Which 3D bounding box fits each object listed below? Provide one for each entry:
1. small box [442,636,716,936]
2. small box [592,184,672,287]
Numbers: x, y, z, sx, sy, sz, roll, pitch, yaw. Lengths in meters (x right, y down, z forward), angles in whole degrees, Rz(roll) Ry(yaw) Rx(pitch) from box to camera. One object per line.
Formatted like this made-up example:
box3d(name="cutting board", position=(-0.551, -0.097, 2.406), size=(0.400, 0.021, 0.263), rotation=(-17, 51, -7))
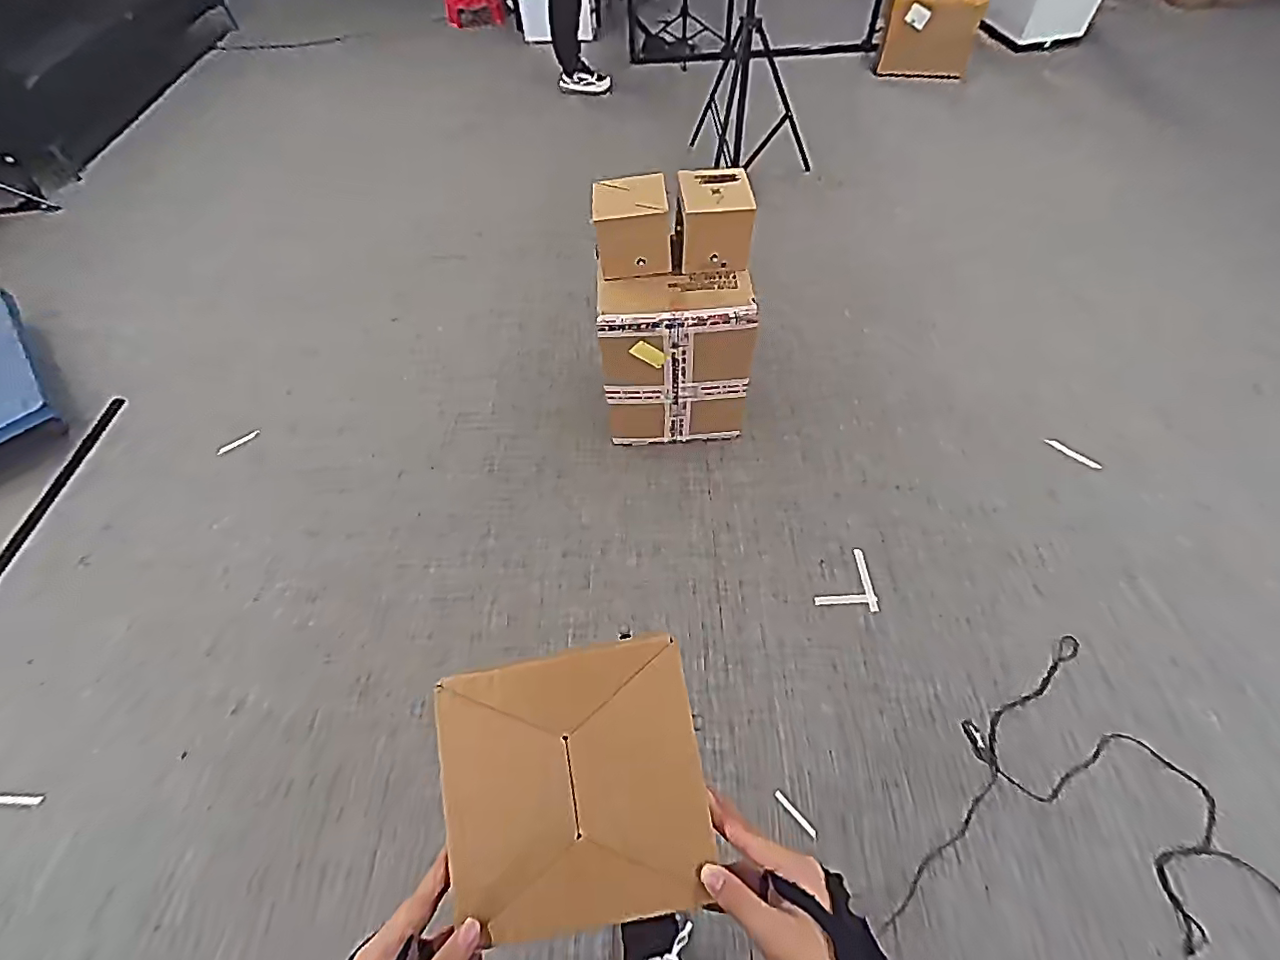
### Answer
box3d(name="small box", position=(-0.046, 0.228, 0.445), size=(0.179, 0.176, 0.168), rotation=(-10, 76, -1))
box3d(name="small box", position=(-0.017, -0.613, 1.353), size=(0.179, 0.176, 0.168), rotation=(-5, 57, 2))
